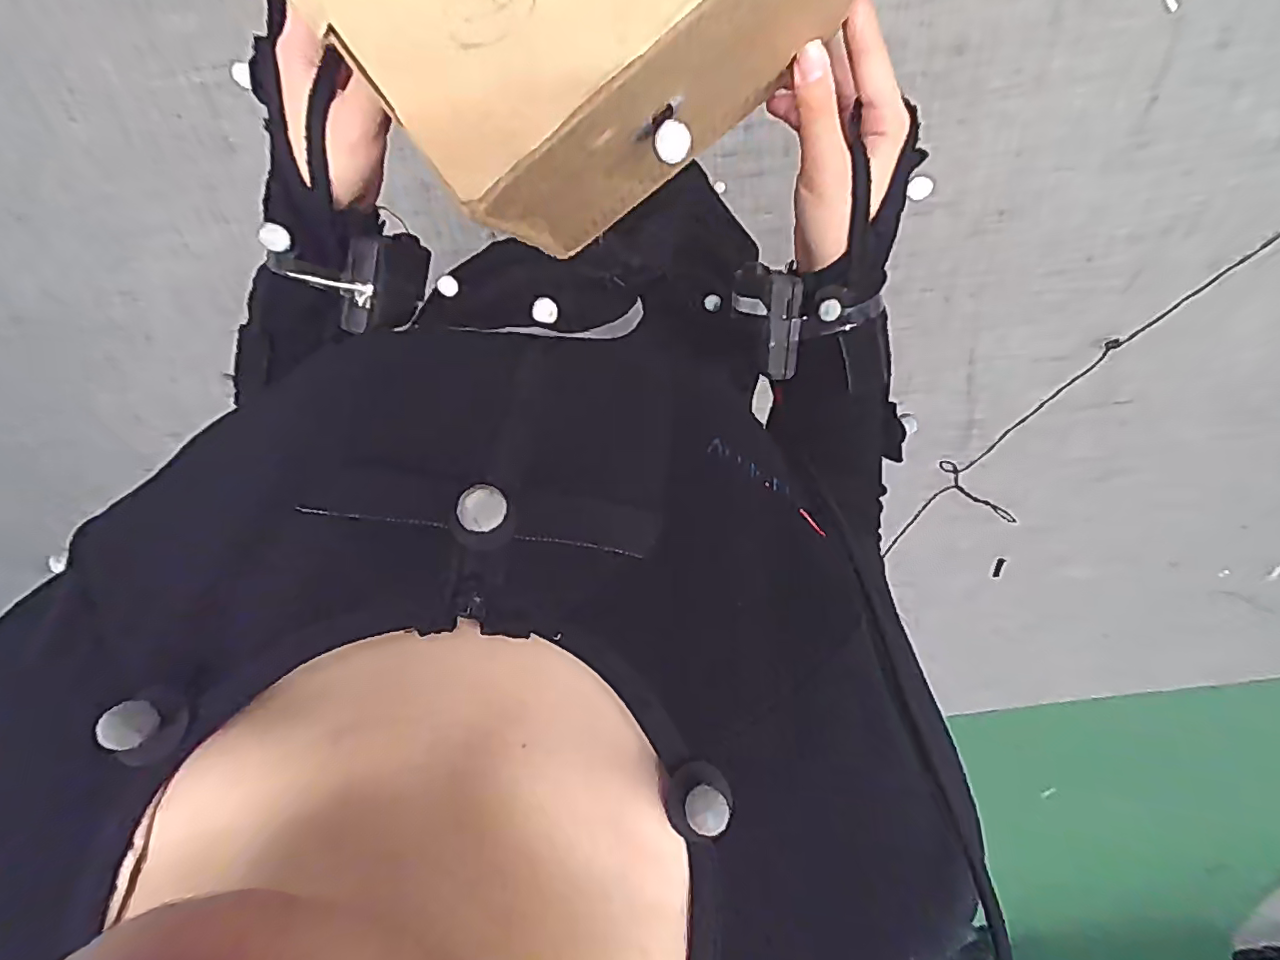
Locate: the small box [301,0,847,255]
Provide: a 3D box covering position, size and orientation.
[{"bbox_3d":[-0.024,-0.211,0.207,0.179,0.176,0.168,-33,102,12],"label":"small box"}]
